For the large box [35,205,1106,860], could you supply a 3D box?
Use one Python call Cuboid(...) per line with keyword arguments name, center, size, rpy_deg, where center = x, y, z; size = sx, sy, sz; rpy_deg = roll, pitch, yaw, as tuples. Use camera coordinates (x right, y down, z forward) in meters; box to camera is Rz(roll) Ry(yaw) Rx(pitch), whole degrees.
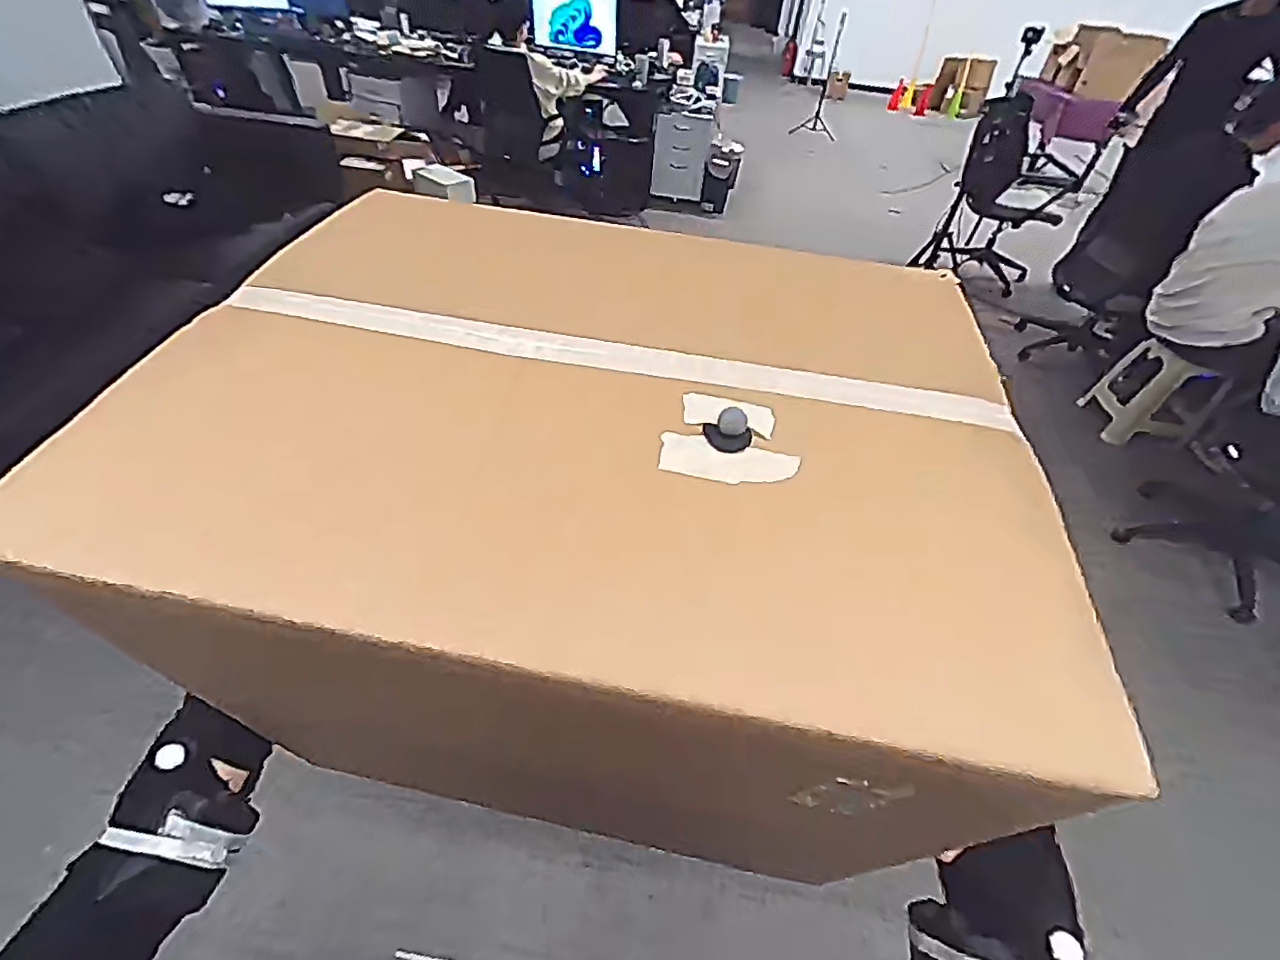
Cuboid(name="large box", center=(-0.022, 0.040, 0.400), size=(0.408, 0.320, 0.320), rpy_deg=(11, 50, 4))
